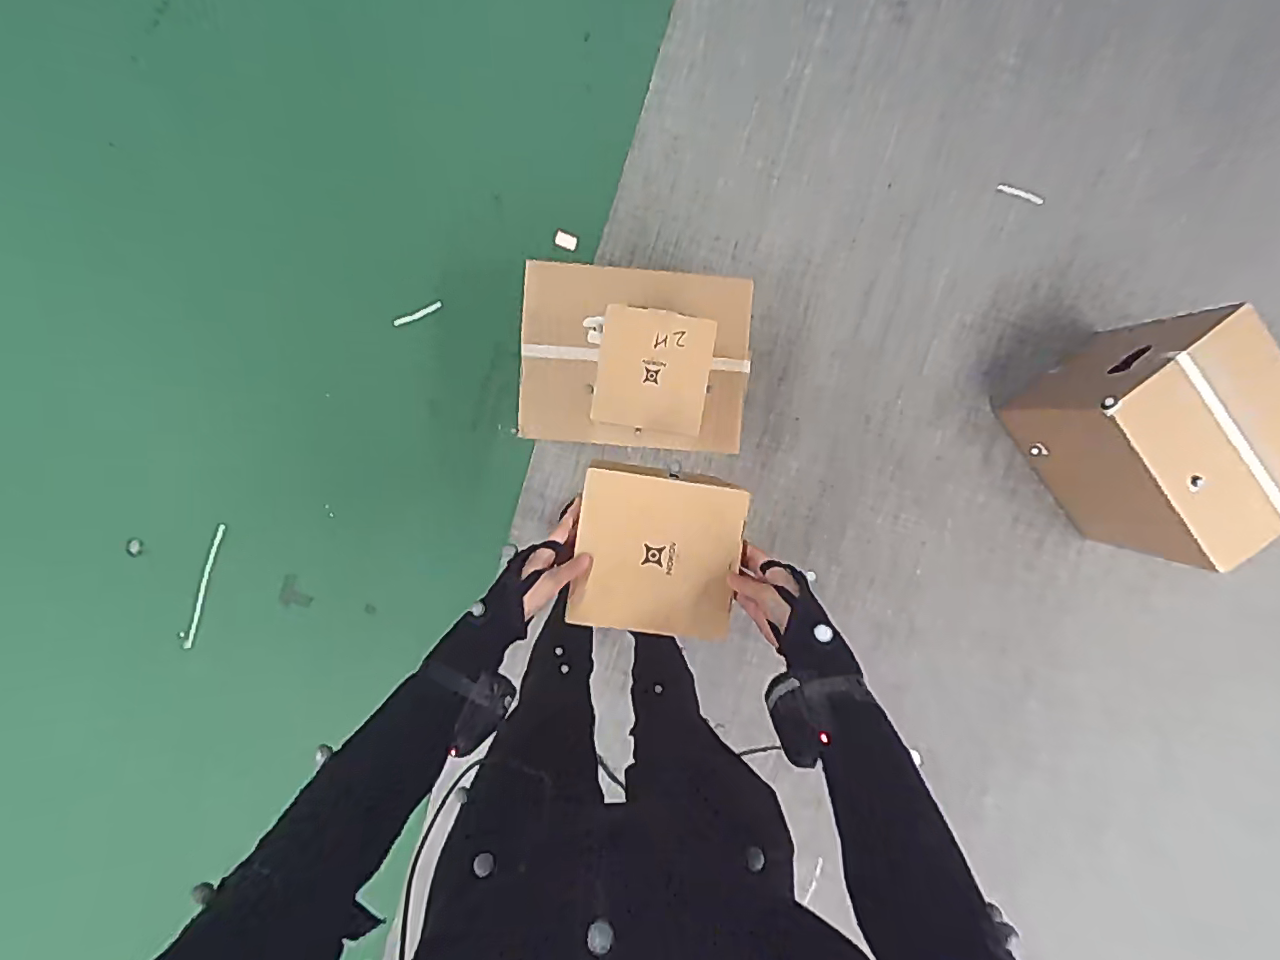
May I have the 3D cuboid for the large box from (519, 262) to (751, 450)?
[{"bbox_3d":[-0.009,-0.233,1.105,0.408,0.320,0.320,4,95,-1],"label":"large box"}]

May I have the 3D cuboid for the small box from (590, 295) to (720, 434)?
[{"bbox_3d":[0.020,-0.175,0.863,0.168,0.176,0.179,10,96,-3],"label":"small box"}]

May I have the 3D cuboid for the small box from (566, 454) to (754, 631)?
[{"bbox_3d":[0.015,0.062,0.640,0.179,0.176,0.168,8,94,-6],"label":"small box"}]
